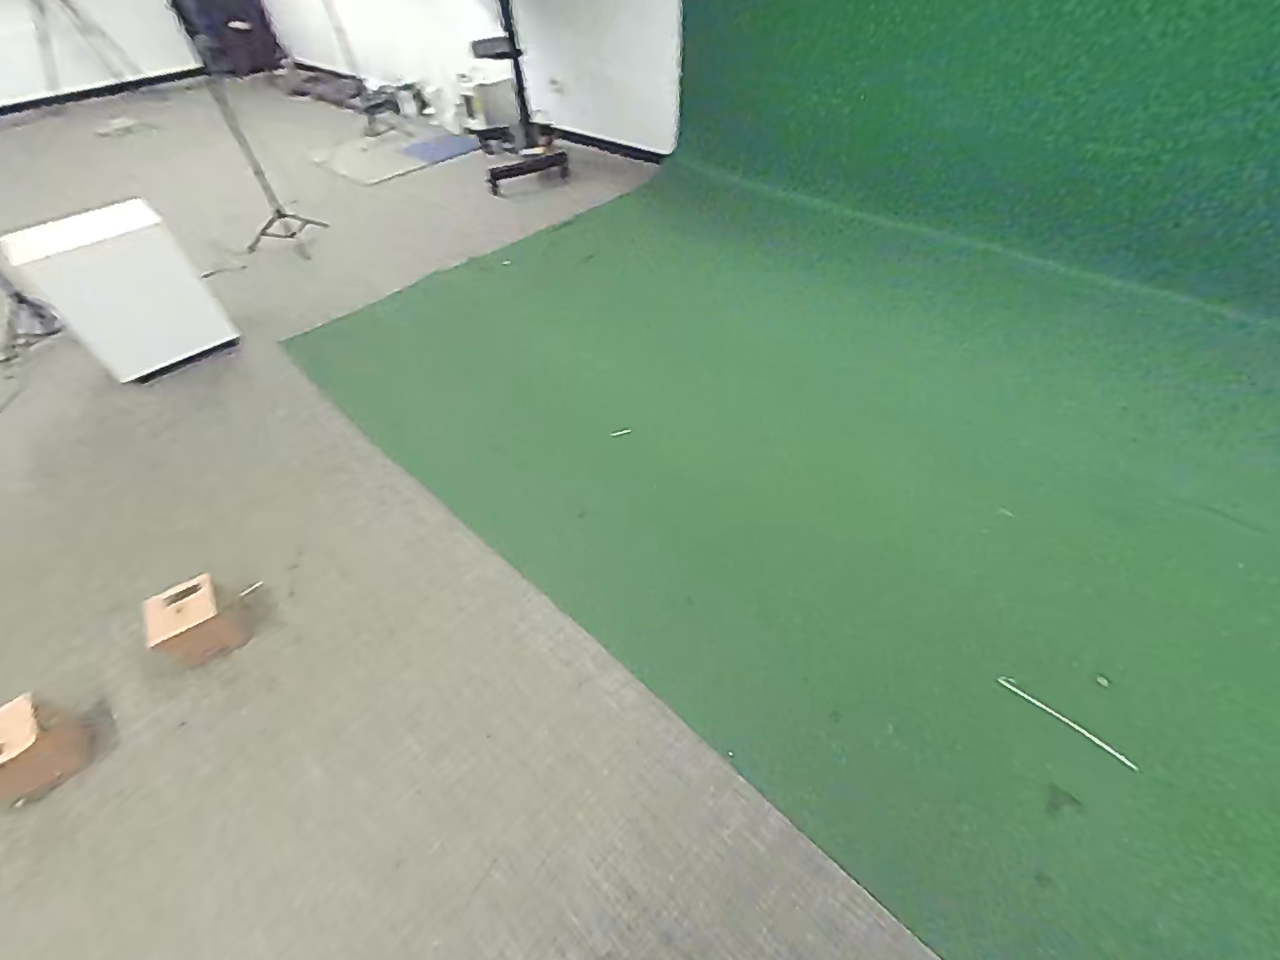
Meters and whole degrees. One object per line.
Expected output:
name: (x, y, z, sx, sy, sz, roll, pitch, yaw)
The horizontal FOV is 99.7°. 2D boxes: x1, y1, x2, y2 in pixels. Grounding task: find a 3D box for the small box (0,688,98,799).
small box: (-1.534, 0.672, 1.368, 0.168, 0.176, 0.179, -36, 55, -26)
